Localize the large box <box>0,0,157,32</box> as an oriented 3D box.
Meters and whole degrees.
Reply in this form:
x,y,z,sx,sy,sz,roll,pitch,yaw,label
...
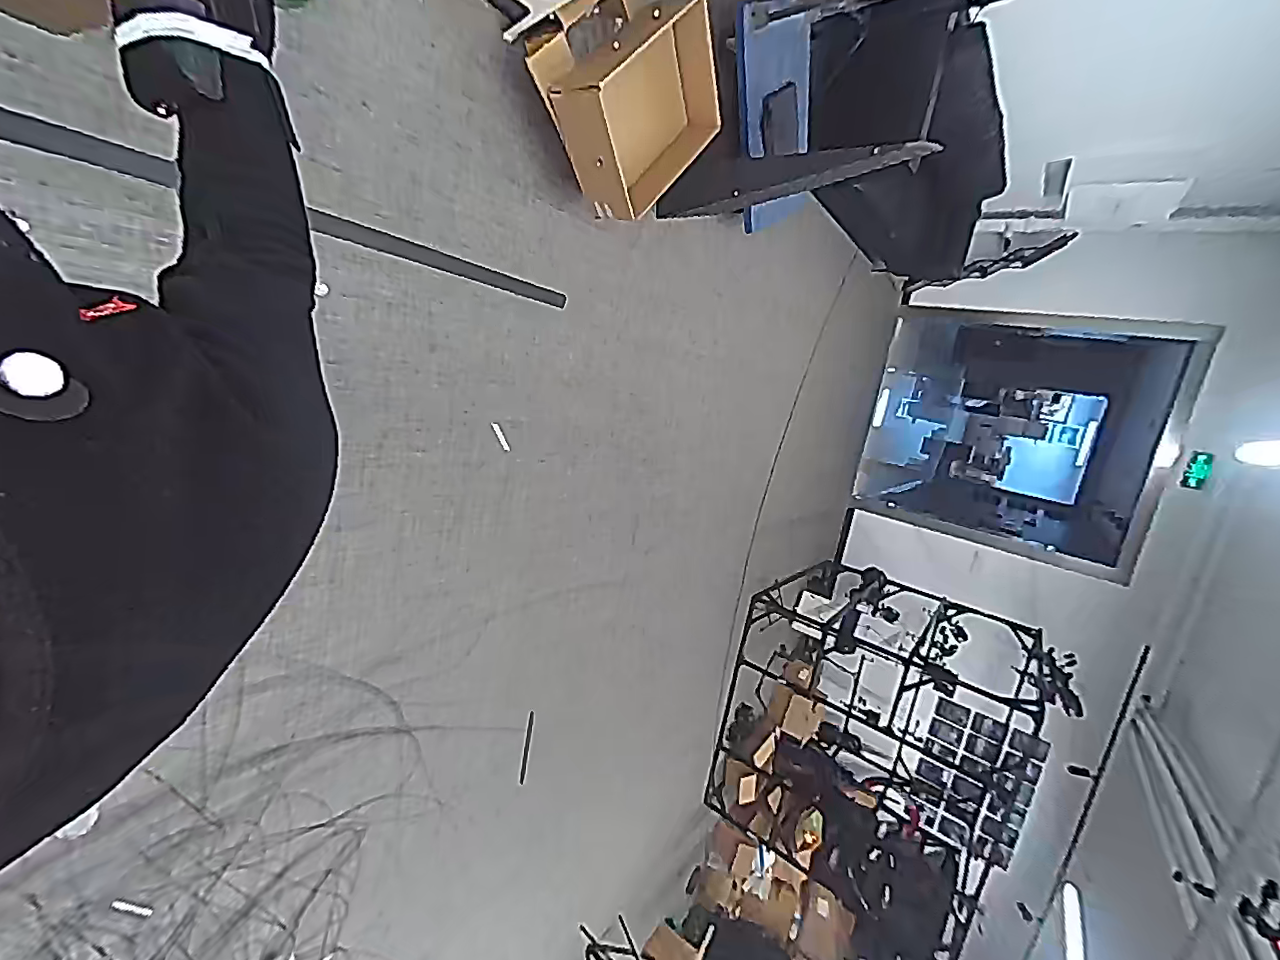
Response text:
x,y,z,sx,sy,sz,roll,pitch,yaw,label
-0.533,-0.503,0.253,0.408,0.320,0.320,-9,120,-54,large box
